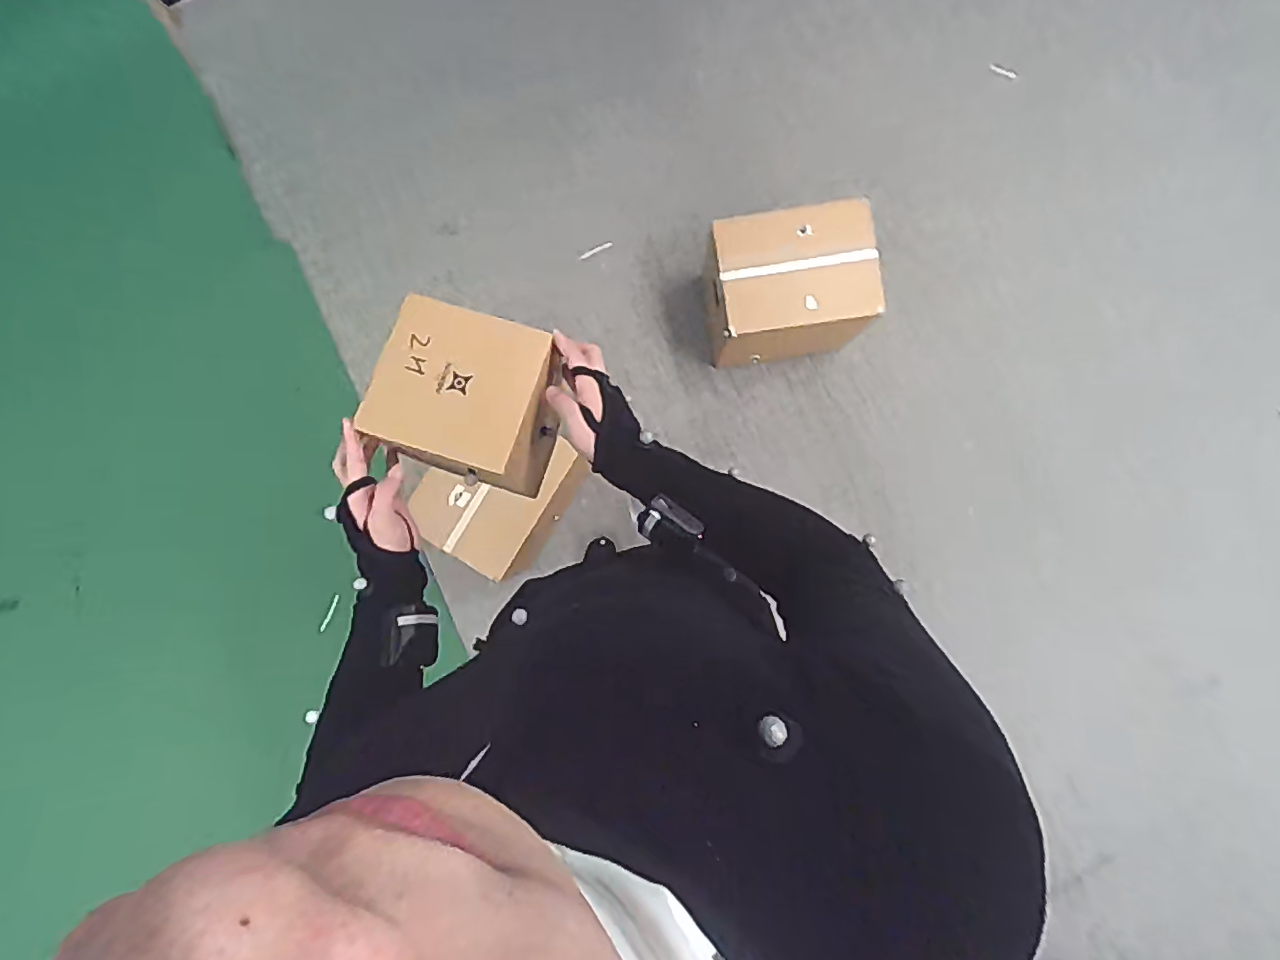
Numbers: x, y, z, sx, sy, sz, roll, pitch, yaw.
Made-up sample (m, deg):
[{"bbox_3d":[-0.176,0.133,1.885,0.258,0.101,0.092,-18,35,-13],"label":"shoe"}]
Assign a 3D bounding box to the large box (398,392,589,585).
[{"bbox_3d":[-0.381,0.024,1.509,0.320,0.320,0.408,31,88,4],"label":"large box"}]
